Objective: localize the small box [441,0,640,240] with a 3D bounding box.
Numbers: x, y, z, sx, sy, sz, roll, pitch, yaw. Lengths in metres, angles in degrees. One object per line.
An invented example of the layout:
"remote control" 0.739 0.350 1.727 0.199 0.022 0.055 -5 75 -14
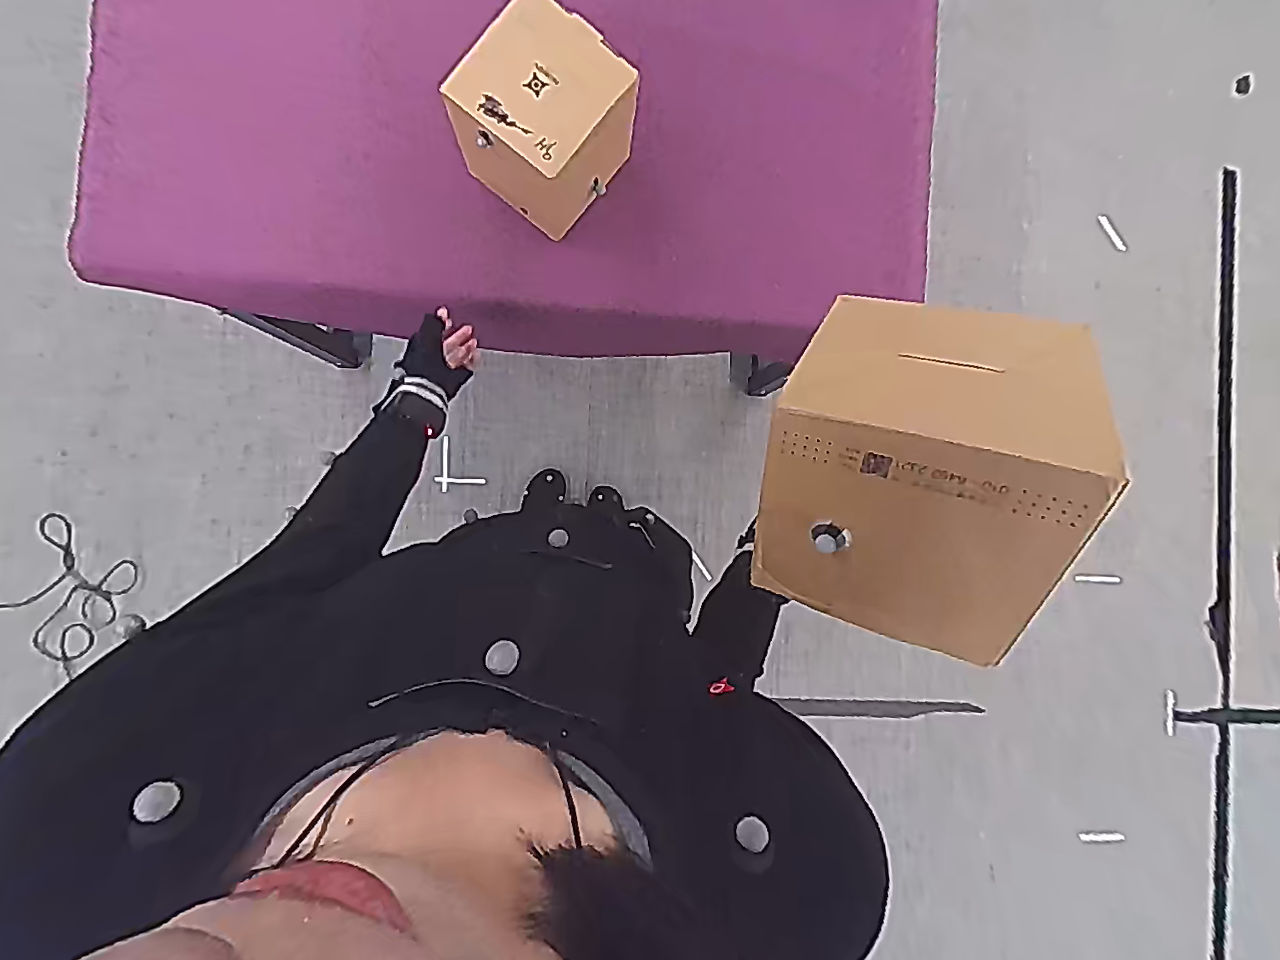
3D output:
"small box" -0.125 -0.462 0.709 0.168 0.176 0.179 38 84 -4

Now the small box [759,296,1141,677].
"small box" 0.192 -0.009 0.370 0.168 0.176 0.179 18 44 22
